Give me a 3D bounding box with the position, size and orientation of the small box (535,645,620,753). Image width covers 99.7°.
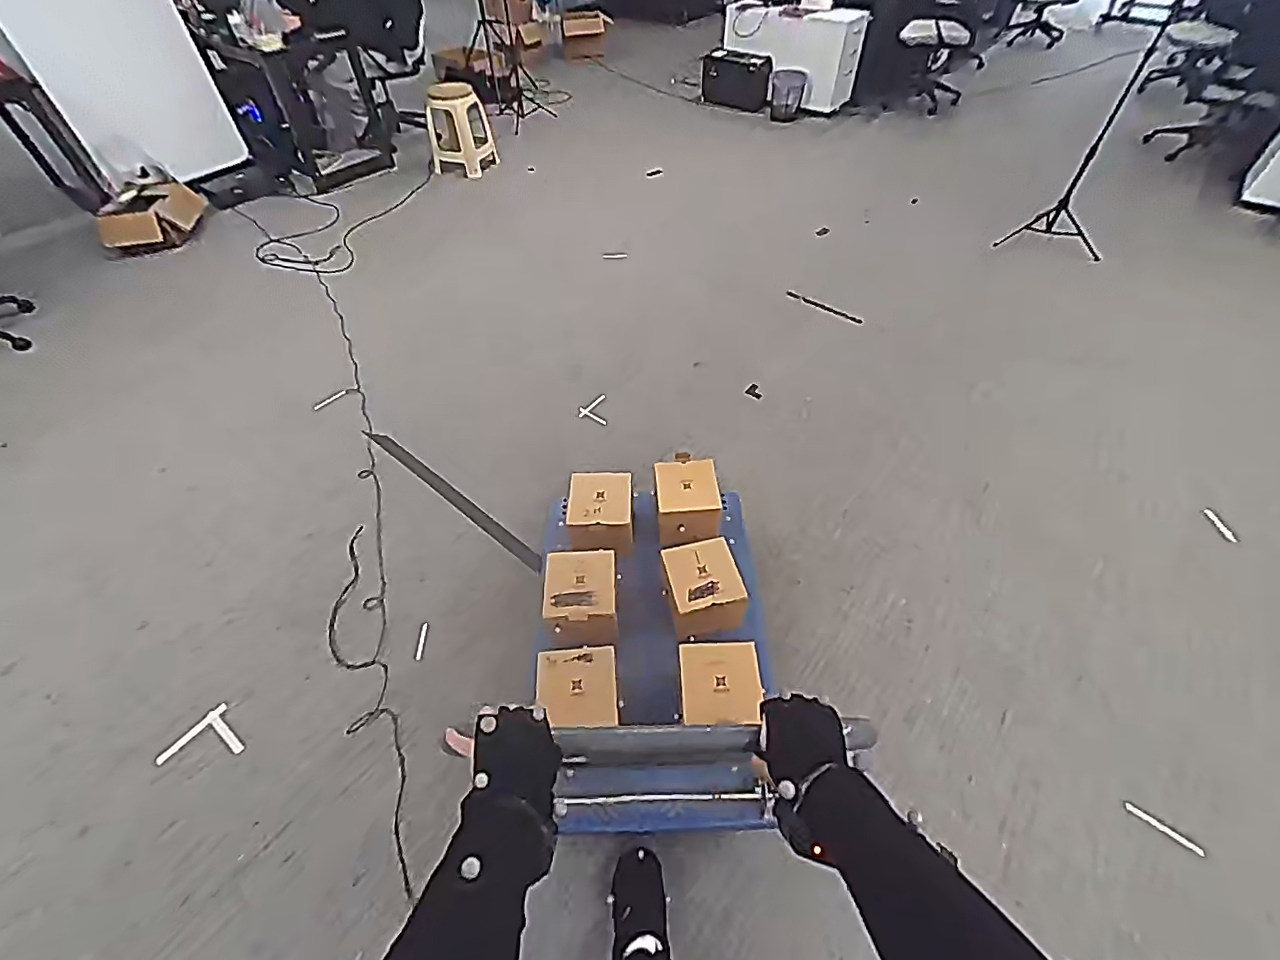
[{"bbox_3d":[-0.131,0.481,1.176,0.168,0.176,0.179,-4,50,-3],"label":"small box"}]

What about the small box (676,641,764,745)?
[{"bbox_3d":[0.167,0.470,1.181,0.168,0.176,0.179,-1,49,0],"label":"small box"}]

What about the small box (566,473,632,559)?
[{"bbox_3d":[-0.108,0.100,1.497,0.168,0.176,0.179,-1,51,1],"label":"small box"}]

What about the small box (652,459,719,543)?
[{"bbox_3d":[0.124,0.065,1.523,0.168,0.176,0.179,-4,50,-2],"label":"small box"}]

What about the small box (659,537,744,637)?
[{"bbox_3d":[0.147,0.273,1.347,0.168,0.176,0.179,-11,50,-8],"label":"small box"}]
